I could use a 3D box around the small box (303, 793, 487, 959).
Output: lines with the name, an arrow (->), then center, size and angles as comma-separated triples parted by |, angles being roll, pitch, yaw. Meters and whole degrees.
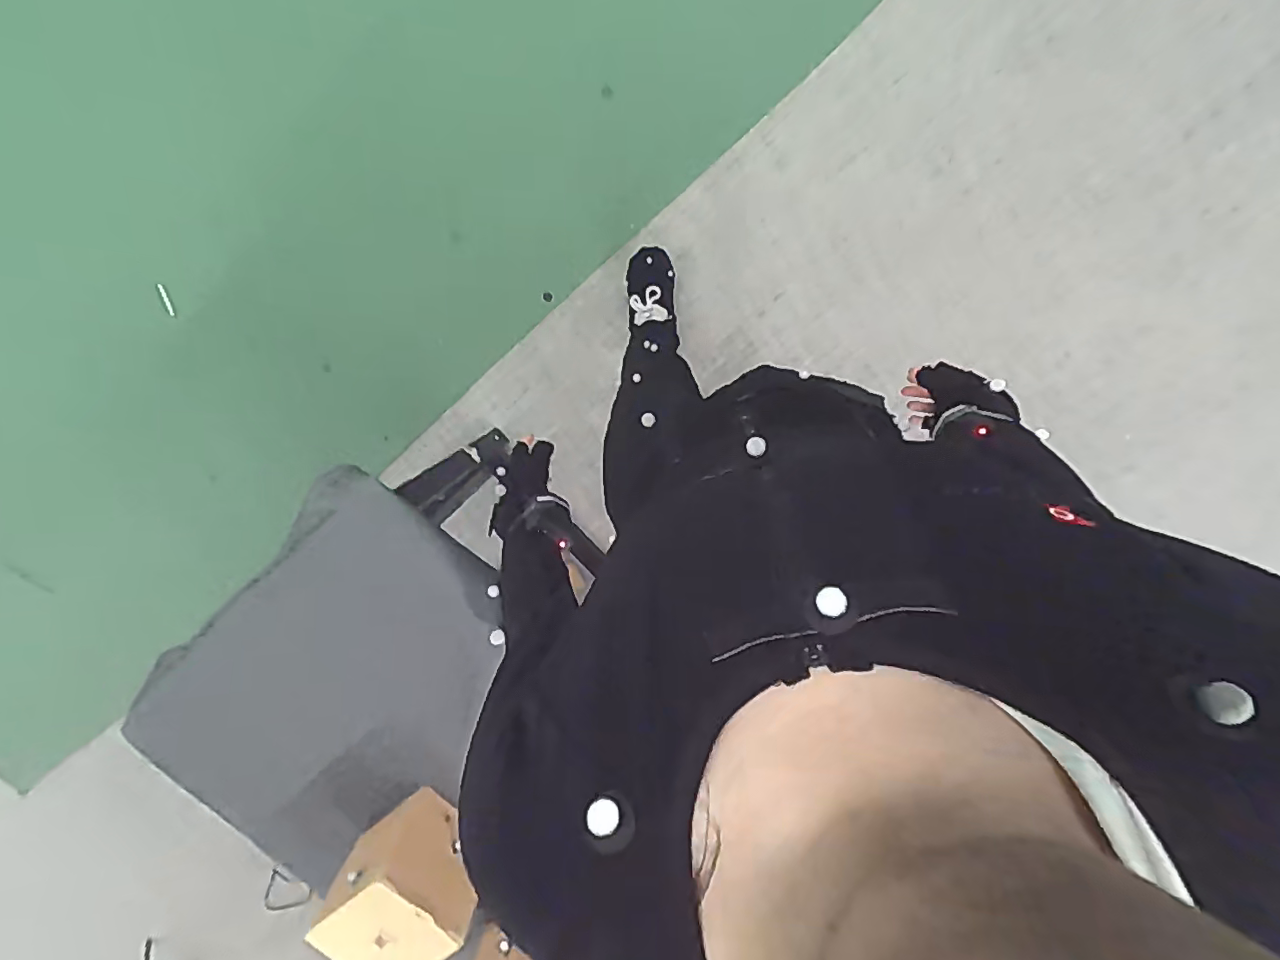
small box -> -0.374, 0.654, 0.862 | 0.179, 0.176, 0.168 | -41, 100, 10
